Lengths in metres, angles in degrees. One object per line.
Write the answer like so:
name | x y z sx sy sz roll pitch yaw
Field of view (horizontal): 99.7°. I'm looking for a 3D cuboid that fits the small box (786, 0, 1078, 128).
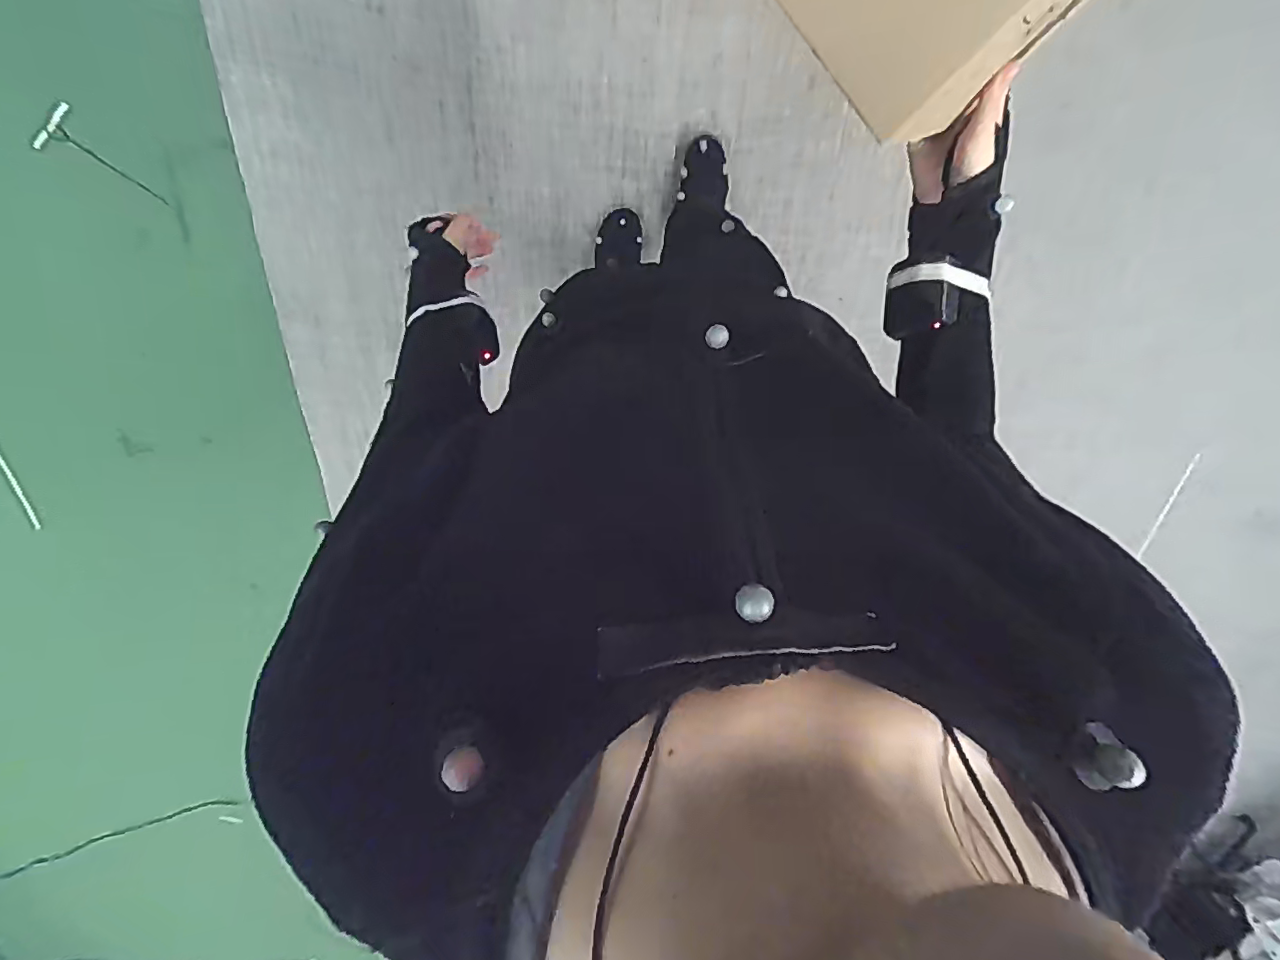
small box | 0.202 -0.364 0.341 0.176 0.179 0.168 54 143 1
